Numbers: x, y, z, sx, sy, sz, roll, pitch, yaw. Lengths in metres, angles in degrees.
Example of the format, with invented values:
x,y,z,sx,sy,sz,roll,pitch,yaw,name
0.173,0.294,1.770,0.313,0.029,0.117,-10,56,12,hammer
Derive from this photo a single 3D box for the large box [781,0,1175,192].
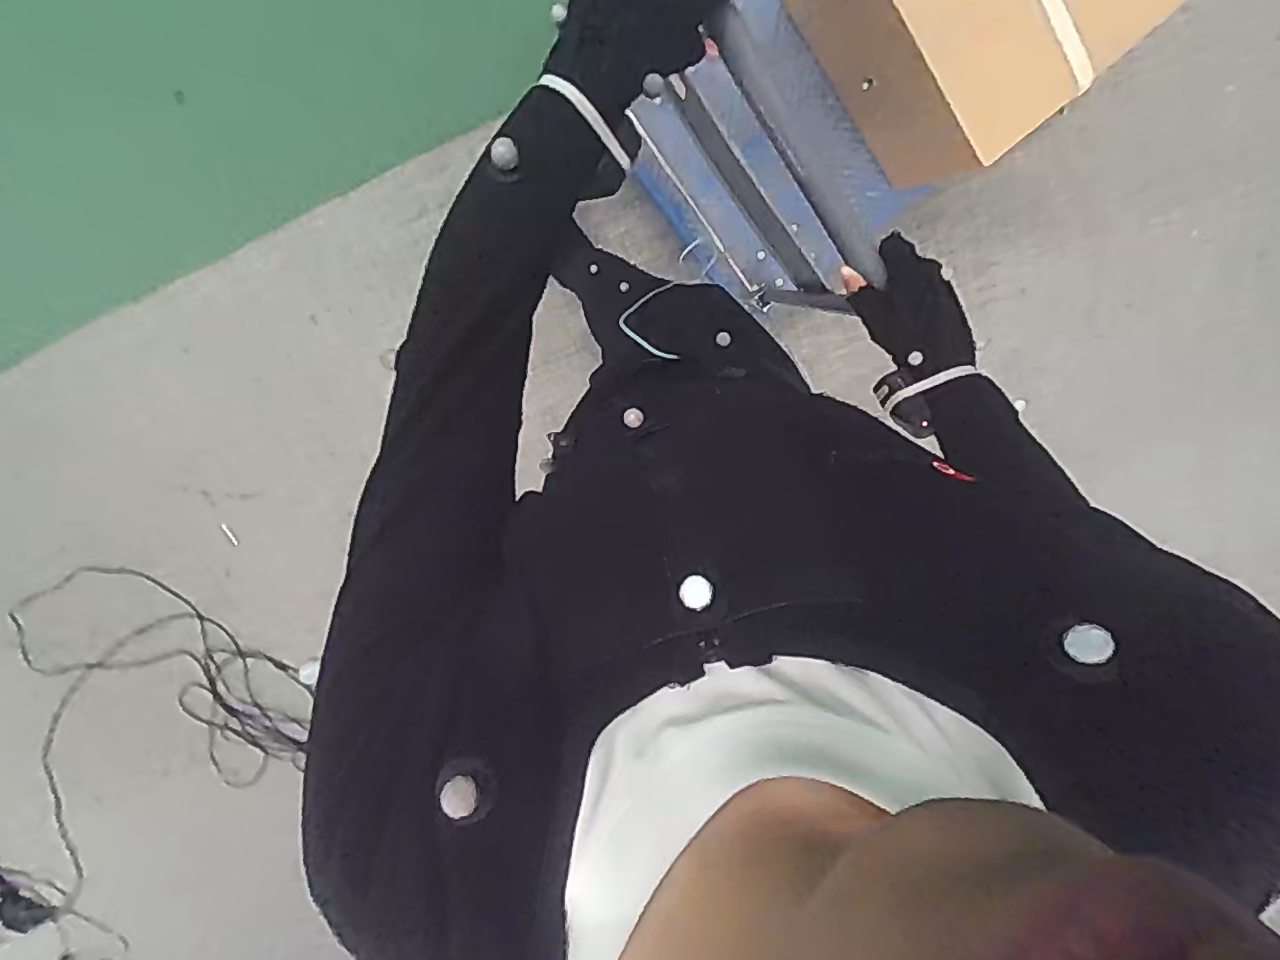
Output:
x,y,z,sx,sy,sz,roll,pitch,yaw,name
0.492,-0.749,0.862,0.320,0.320,0.408,-39,106,14,large box
